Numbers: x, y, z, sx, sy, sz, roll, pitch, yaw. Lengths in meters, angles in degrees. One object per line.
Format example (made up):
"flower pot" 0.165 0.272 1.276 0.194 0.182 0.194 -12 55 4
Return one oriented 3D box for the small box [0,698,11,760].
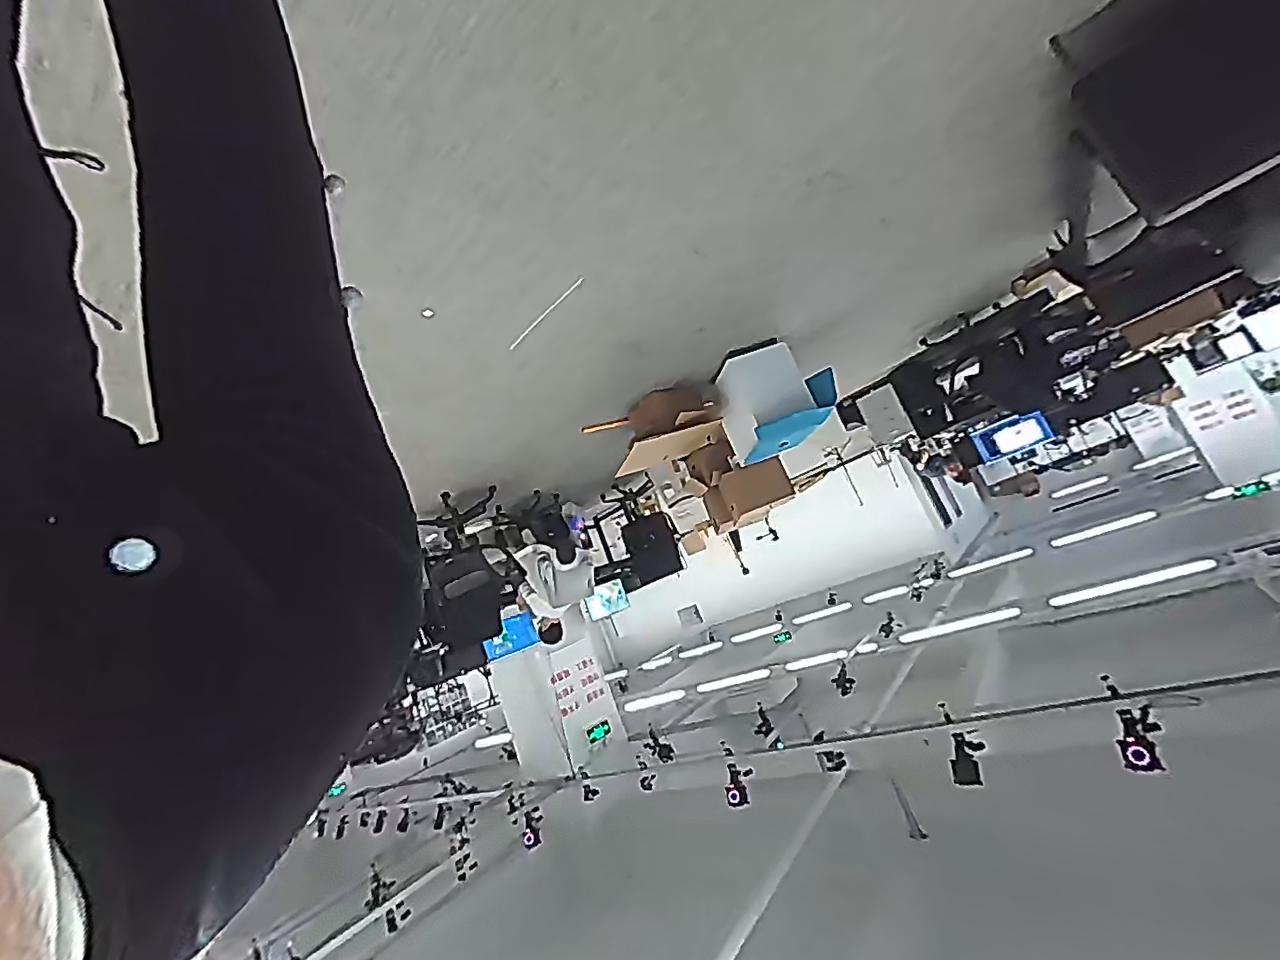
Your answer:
"small box" -1.914 0.728 1.522 0.168 0.176 0.179 -8 163 -48
